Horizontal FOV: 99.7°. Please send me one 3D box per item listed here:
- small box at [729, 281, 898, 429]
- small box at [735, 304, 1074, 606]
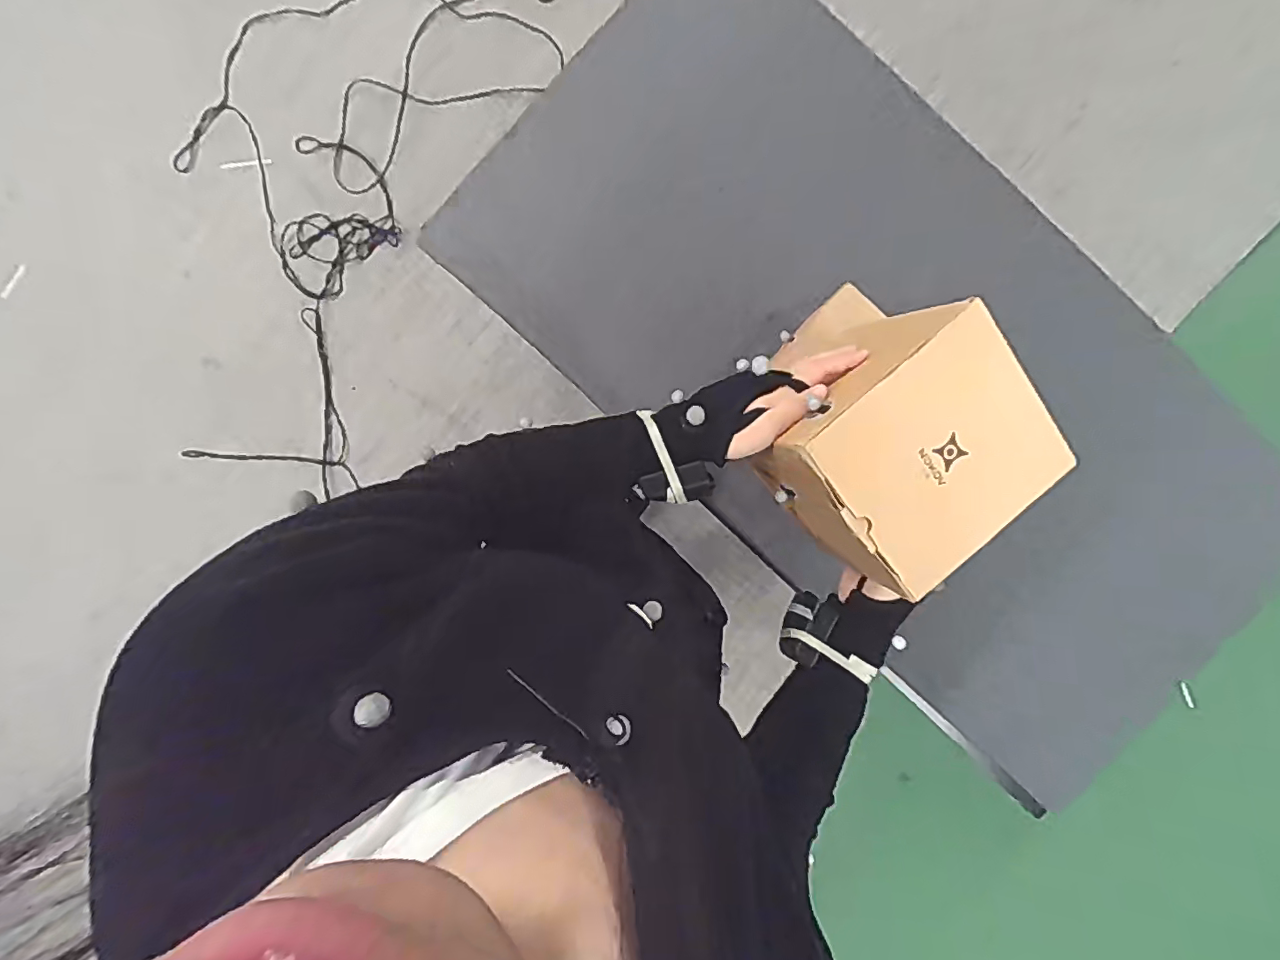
[{"bbox_3d":[0.229,-0.101,0.664,0.168,0.176,0.179,42,92,0],"label":"small box"},{"bbox_3d":[0.215,-0.029,0.483,0.179,0.176,0.168,-40,104,-1],"label":"small box"}]
